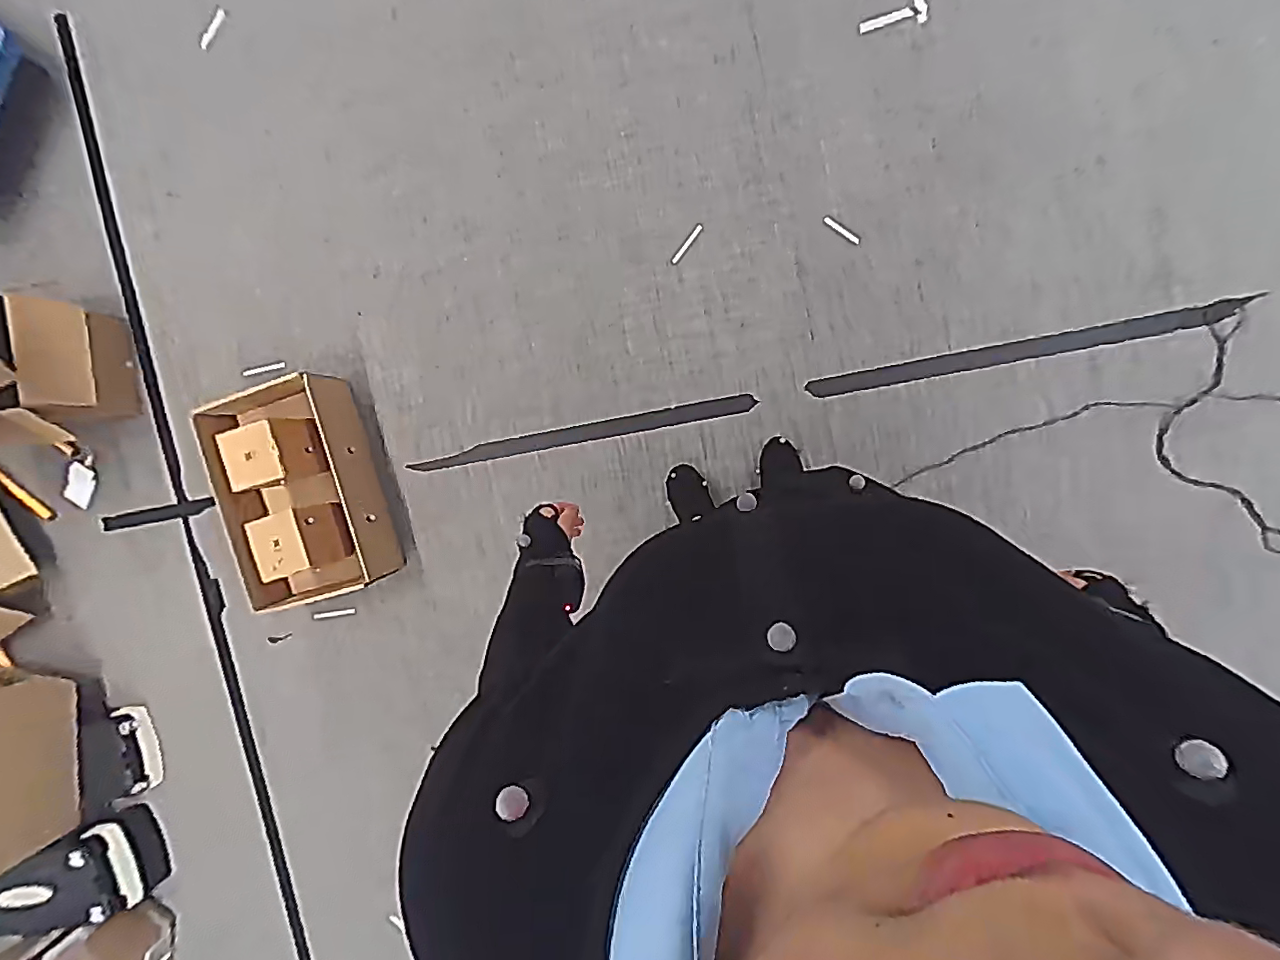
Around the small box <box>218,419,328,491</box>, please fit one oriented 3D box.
[{"bbox_3d":[-1.054,-0.074,1.564,0.179,0.176,0.168,-16,93,10],"label":"small box"}]

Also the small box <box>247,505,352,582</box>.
[{"bbox_3d":[-0.982,0.176,1.573,0.168,0.176,0.179,-17,91,12],"label":"small box"}]
